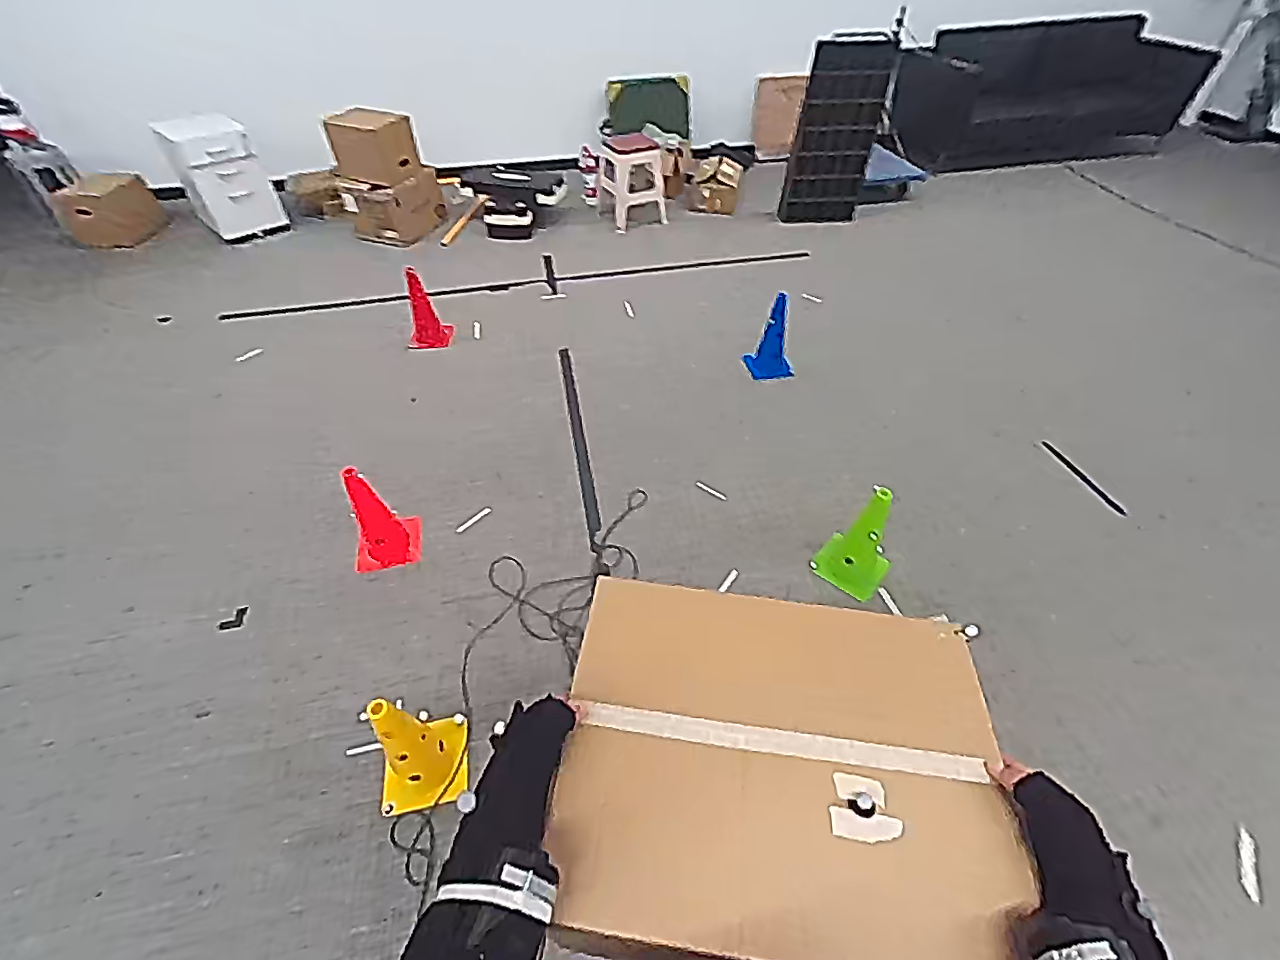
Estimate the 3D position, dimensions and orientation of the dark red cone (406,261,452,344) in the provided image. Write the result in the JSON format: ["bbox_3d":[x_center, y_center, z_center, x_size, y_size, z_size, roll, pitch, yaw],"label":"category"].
[{"bbox_3d":[-1.041,-0.842,2.575,0.201,0.394,0.202,-4,47,-5],"label":"dark red cone"}]

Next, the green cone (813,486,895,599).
[{"bbox_3d":[0.691,0.157,1.634,0.200,0.368,0.202,32,53,26],"label":"green cone"}]

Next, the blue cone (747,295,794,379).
[{"bbox_3d":[0.611,-0.648,2.426,0.192,0.380,0.193,-6,47,-6],"label":"blue cone"}]

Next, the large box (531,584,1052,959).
[{"bbox_3d":[0.121,0.351,0.616,0.408,0.320,0.320,6,46,4],"label":"large box"}]

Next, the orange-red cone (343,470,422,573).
[{"bbox_3d":[-0.844,0.105,1.705,0.198,0.360,0.199,-11,49,-9],"label":"orange-red cone"}]
